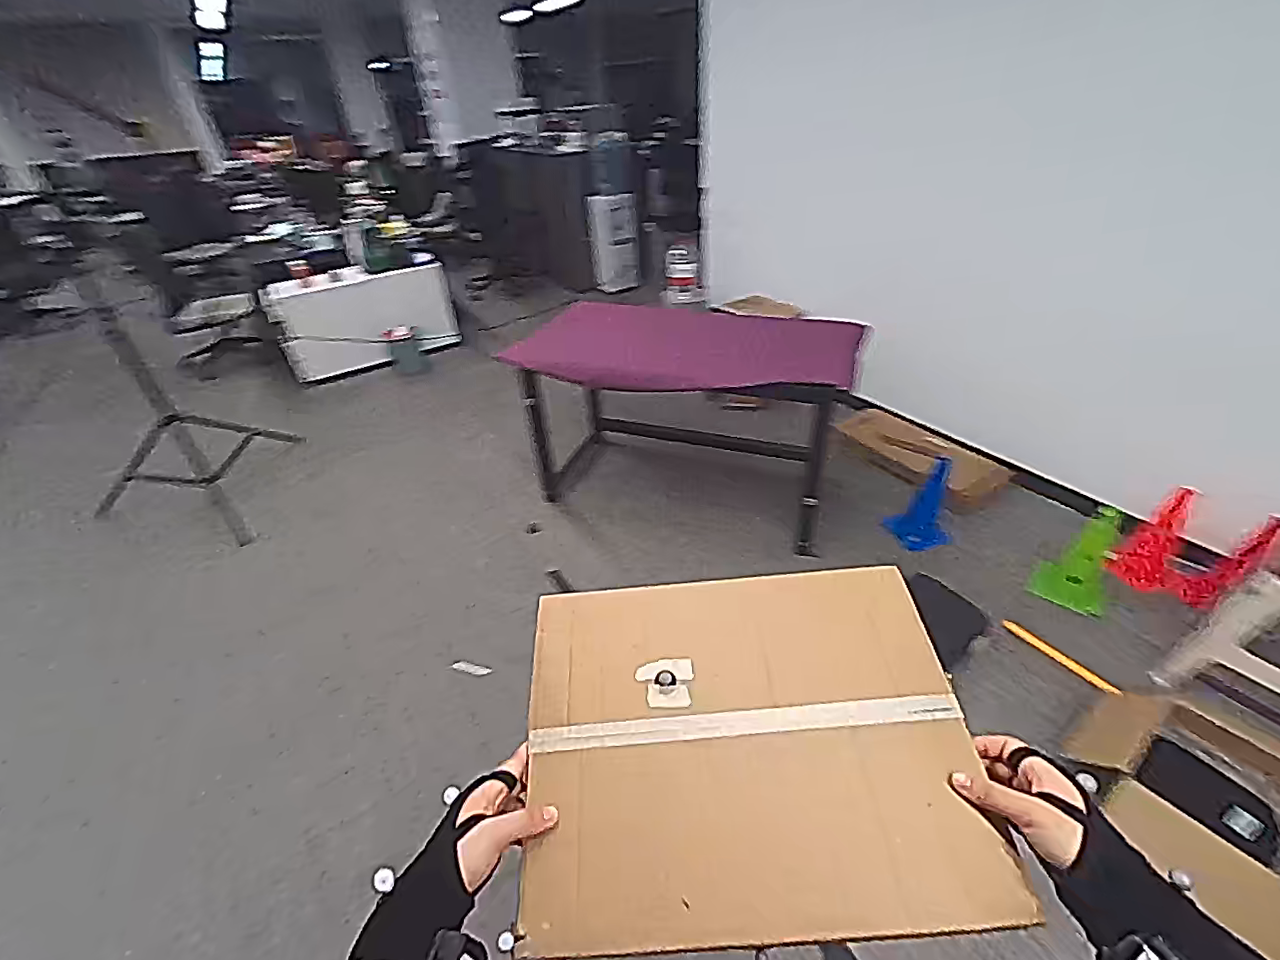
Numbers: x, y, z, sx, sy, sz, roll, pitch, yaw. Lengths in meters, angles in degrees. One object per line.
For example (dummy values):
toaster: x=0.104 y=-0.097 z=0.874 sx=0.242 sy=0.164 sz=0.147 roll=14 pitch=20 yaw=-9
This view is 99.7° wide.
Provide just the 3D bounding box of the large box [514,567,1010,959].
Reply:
large box: x=0.099 y=0.335 z=0.633 sx=0.408 sy=0.320 sz=0.320 roll=-7 pitch=48 yaw=2
